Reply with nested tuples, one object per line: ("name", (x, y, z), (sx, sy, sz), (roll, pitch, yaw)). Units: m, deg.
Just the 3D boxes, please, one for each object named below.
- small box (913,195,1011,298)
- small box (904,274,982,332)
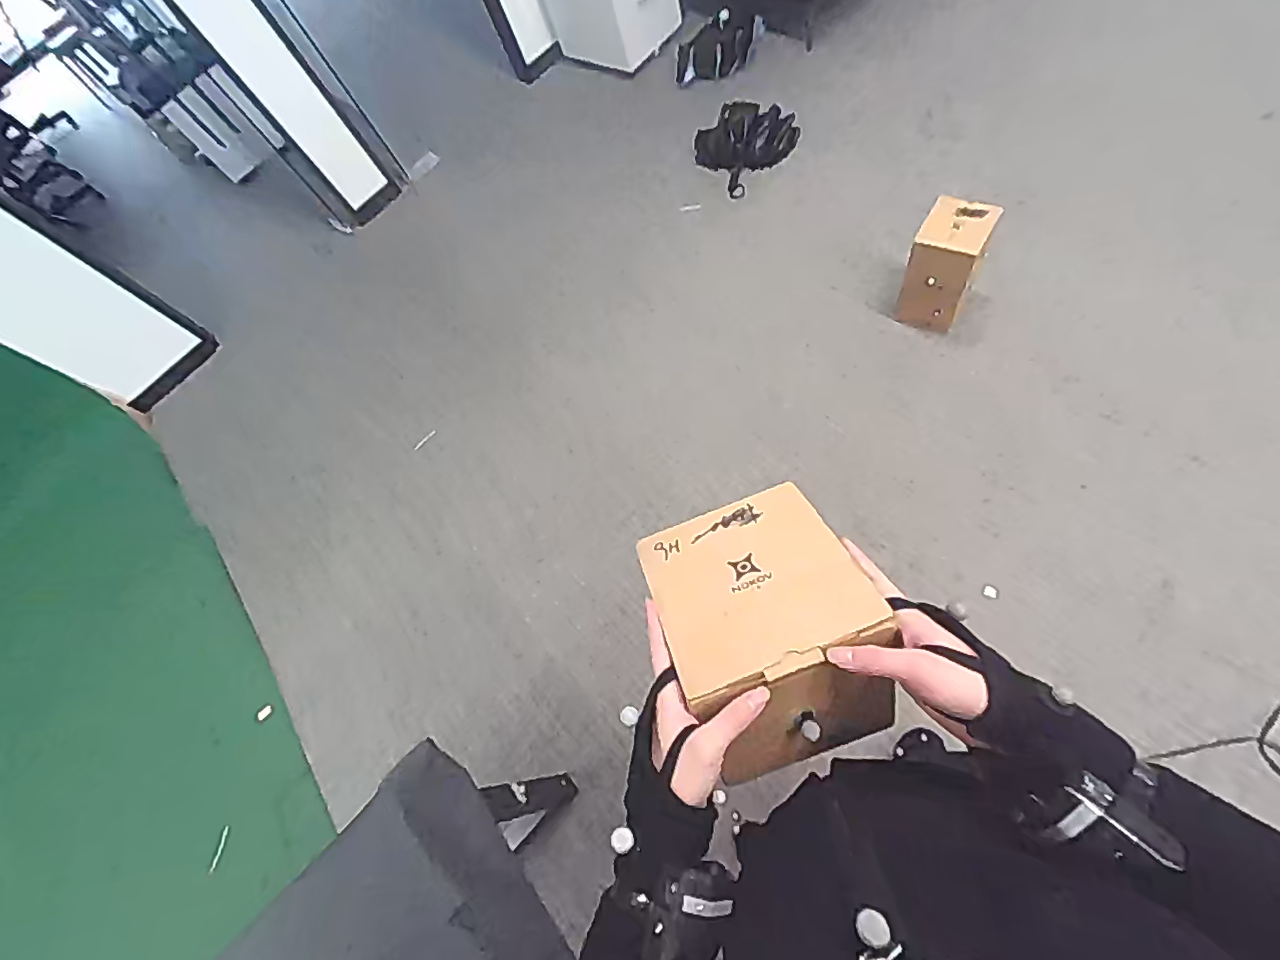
("small box", (0.873, -0.639, 1.485), (0.168, 0.176, 0.179), (28, 78, 27))
("small box", (0.917, -0.577, 1.632), (0.168, 0.176, 0.179), (27, 75, 26))
